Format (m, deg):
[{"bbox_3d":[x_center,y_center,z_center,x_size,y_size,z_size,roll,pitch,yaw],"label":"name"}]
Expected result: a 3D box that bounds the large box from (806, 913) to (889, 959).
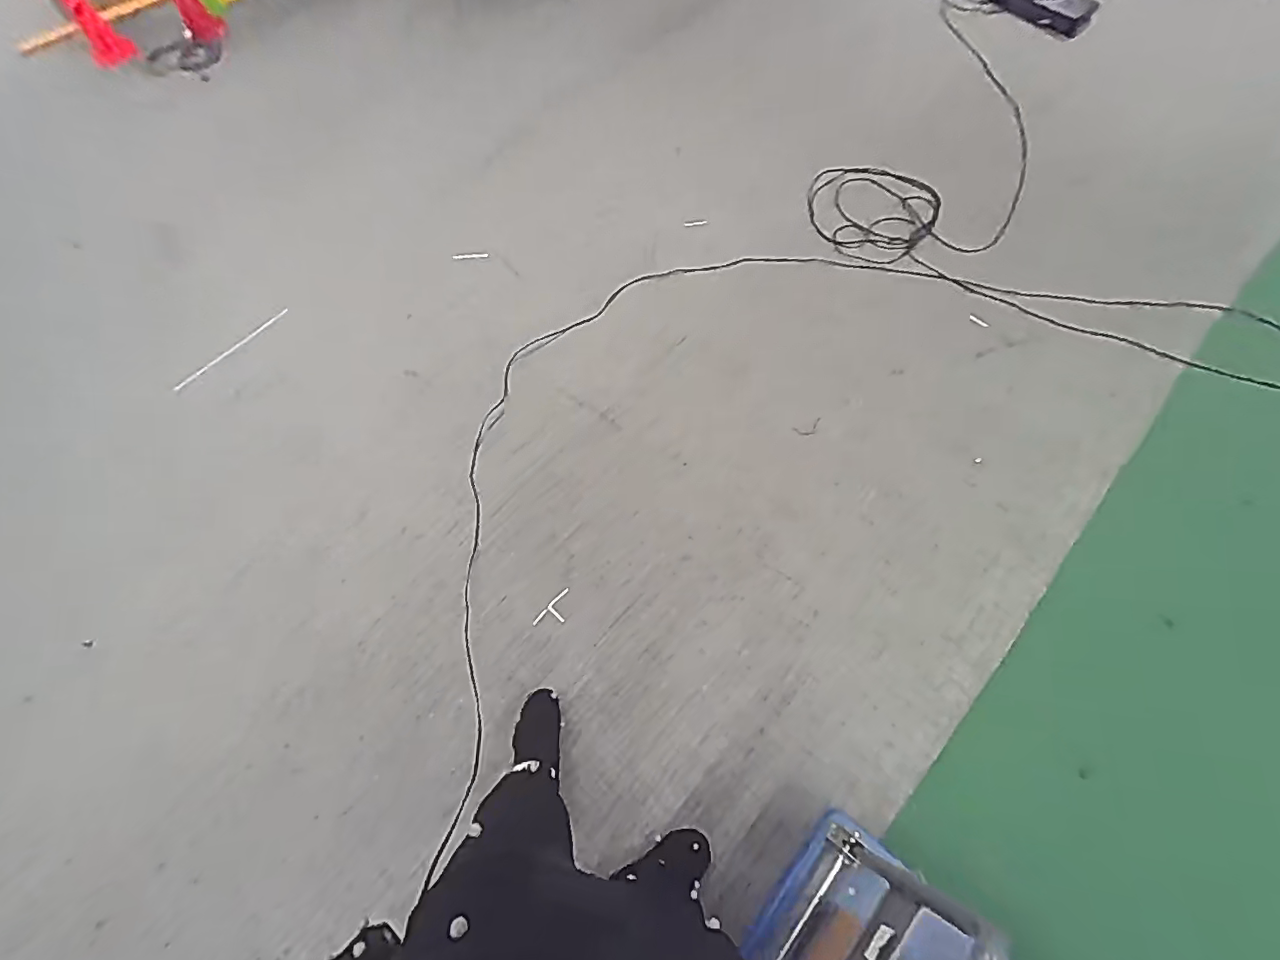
[{"bbox_3d":[0.448,1.038,0.873,0.408,0.320,0.320,39,72,16],"label":"large box"}]
